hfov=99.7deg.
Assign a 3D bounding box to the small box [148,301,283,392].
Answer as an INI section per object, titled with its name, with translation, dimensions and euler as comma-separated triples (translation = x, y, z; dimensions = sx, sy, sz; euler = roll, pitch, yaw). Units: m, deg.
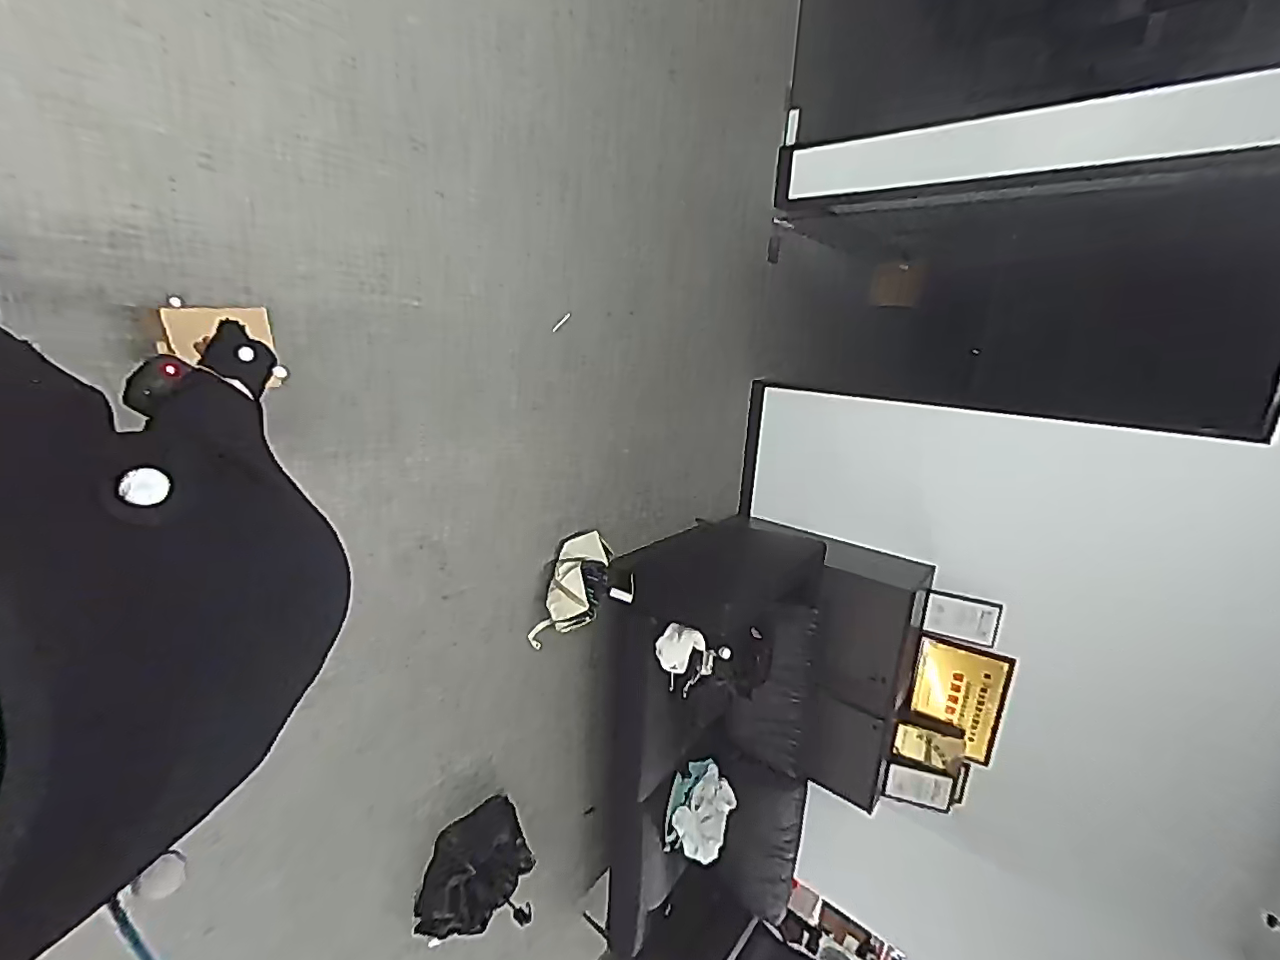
[small box]
translation = -0.883, -0.282, 1.122
dimensions = 0.179, 0.176, 0.168
euler = -22, 120, -47
